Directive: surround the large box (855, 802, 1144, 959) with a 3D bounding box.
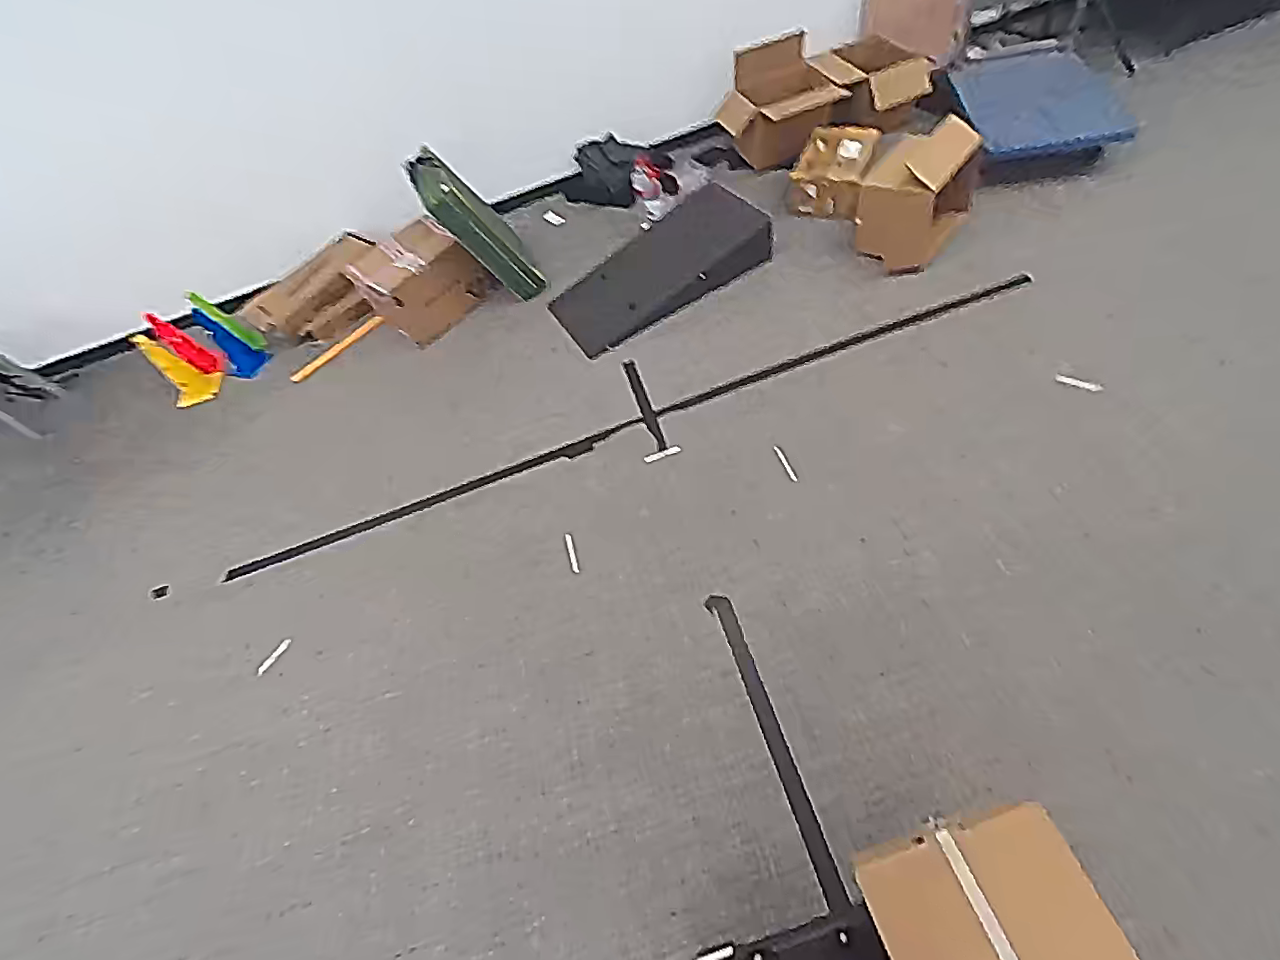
[{"bbox_3d":[0.594,0.794,0.872,0.320,0.320,0.408,-25,55,6],"label":"large box"}]
